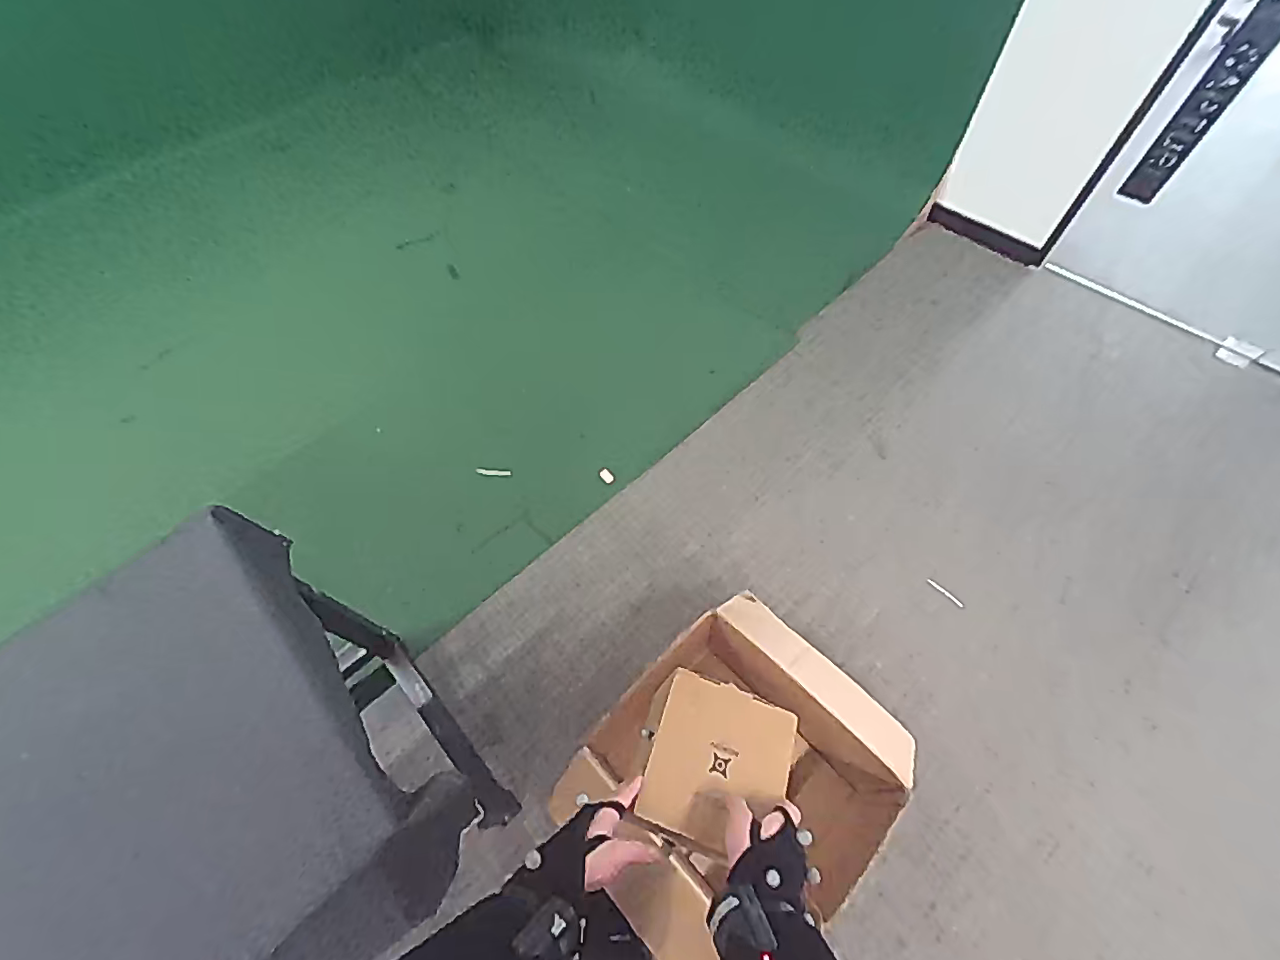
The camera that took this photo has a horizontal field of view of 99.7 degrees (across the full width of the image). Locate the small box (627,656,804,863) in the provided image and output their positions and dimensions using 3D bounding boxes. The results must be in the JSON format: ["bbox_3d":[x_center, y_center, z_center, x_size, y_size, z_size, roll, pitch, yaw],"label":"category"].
[{"bbox_3d":[0.090,0.356,0.695,0.168,0.176,0.179,20,57,4],"label":"small box"}]
